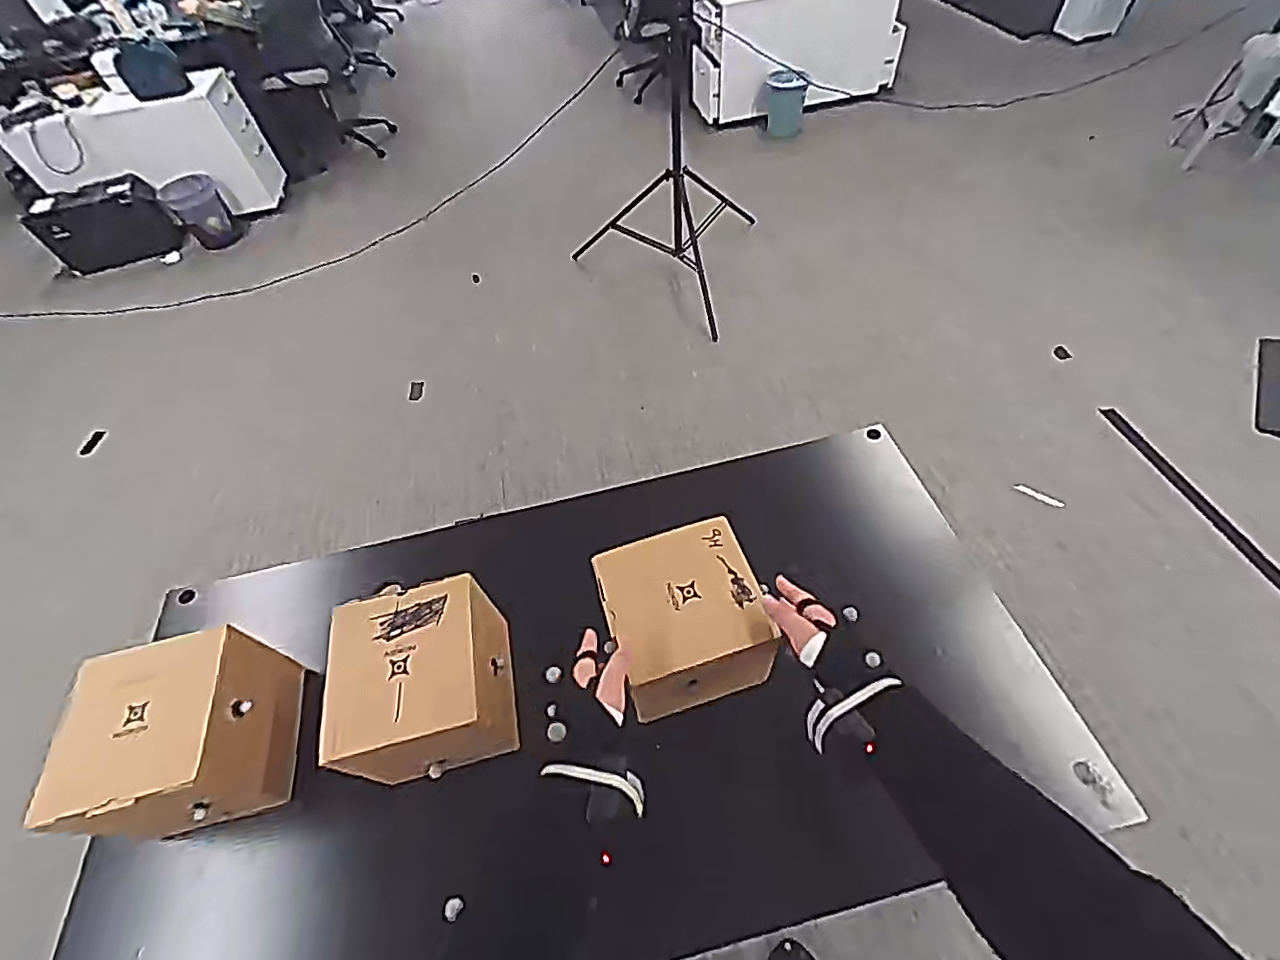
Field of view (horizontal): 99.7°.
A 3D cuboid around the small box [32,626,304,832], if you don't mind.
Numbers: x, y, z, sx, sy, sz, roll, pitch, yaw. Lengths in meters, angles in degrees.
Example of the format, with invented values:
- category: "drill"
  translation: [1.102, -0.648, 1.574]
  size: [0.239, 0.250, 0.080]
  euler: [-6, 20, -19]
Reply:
- category: "small box"
  translation: [-0.541, 0.307, 0.655]
  size: [0.168, 0.176, 0.179]
  euler: [-14, 53, -6]

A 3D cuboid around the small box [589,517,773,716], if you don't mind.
- category: "small box"
  translation: [0.050, 0.179, 0.687]
  size: [0.179, 0.176, 0.168]
  euler: [-17, 55, -6]

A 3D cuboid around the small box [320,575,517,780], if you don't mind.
- category: "small box"
  translation: [-0.260, 0.247, 0.669]
  size: [0.168, 0.176, 0.179]
  euler: [-14, 55, -4]
